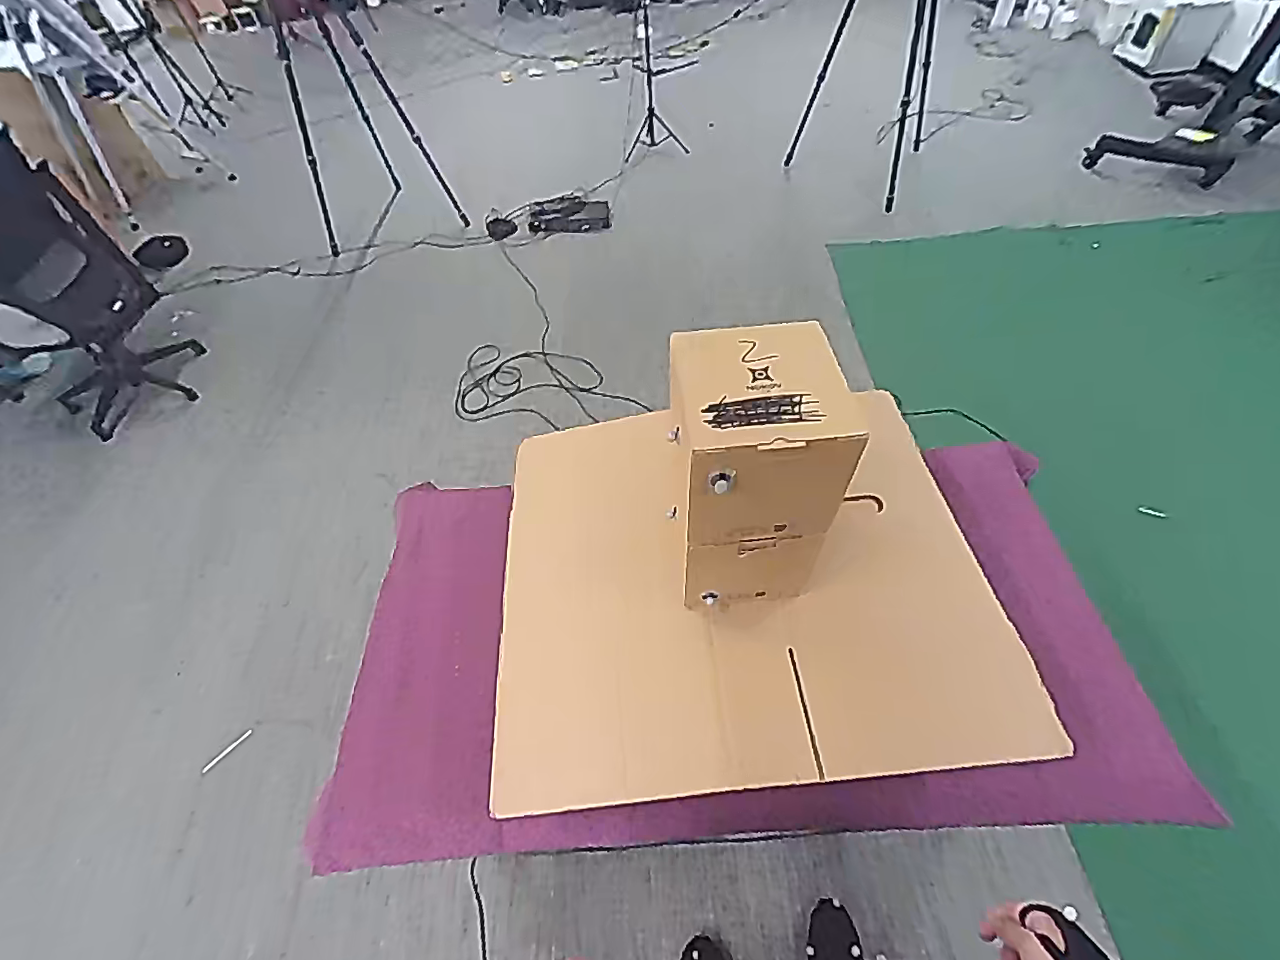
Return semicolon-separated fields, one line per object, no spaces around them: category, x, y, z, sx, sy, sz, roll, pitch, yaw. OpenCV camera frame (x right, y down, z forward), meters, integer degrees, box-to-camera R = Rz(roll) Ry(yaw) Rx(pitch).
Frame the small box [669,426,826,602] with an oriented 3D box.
small box;0.131;0.053;0.730;0.168;0.176;0.179;-5;52;-1
